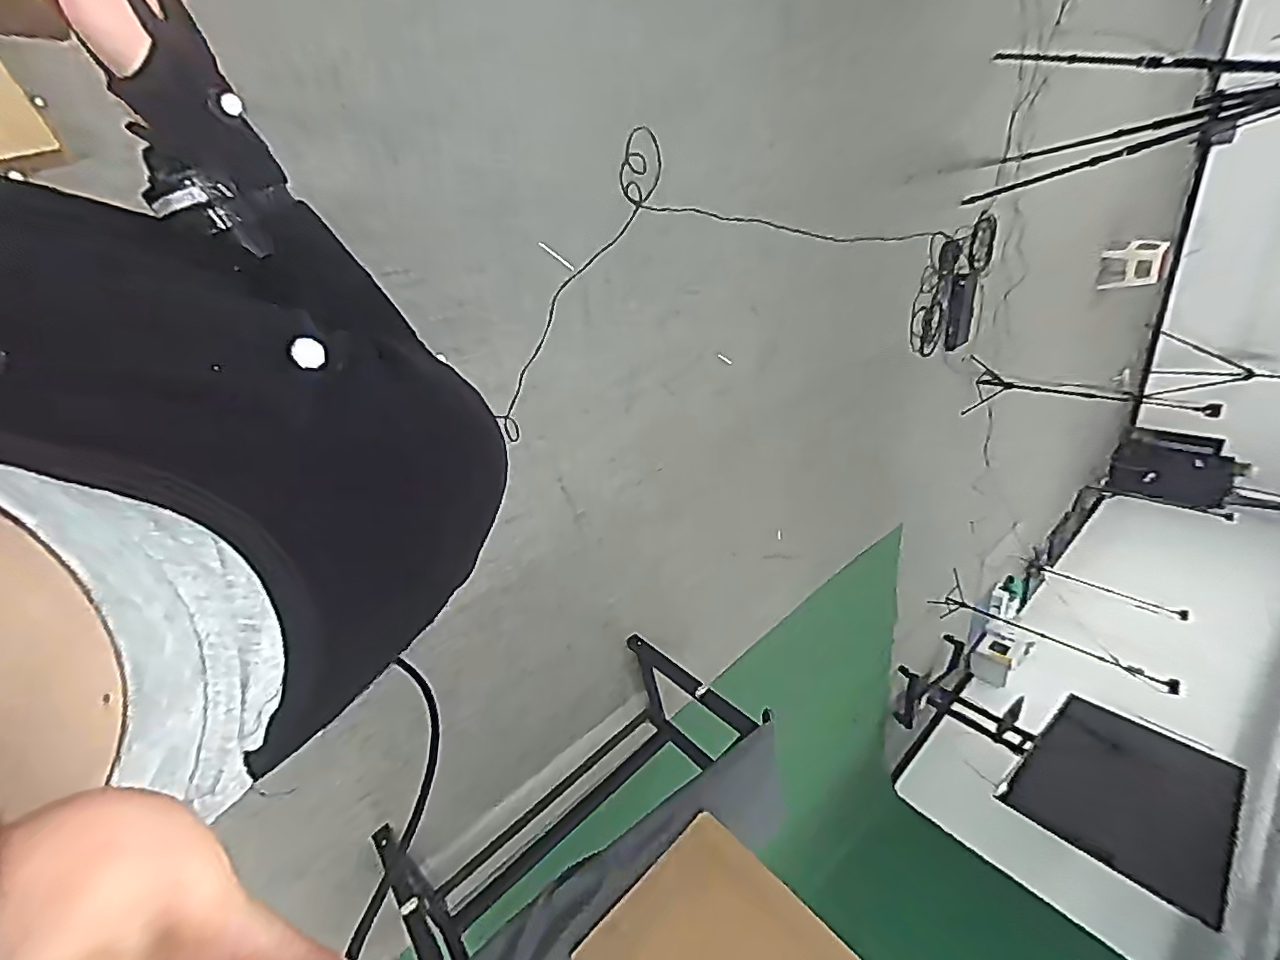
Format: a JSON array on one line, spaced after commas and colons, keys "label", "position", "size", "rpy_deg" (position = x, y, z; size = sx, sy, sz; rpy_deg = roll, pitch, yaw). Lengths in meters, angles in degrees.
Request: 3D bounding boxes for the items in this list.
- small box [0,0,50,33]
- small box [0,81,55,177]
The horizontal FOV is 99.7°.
[{"label": "small box", "position": [-0.394, -0.305, 0.207], "size": [0.168, 0.176, 0.179], "rpy_deg": [-19, 119, -28]}, {"label": "small box", "position": [-1.115, -0.598, 0.872], "size": [0.168, 0.176, 0.179], "rpy_deg": [-35, 126, -27]}]
